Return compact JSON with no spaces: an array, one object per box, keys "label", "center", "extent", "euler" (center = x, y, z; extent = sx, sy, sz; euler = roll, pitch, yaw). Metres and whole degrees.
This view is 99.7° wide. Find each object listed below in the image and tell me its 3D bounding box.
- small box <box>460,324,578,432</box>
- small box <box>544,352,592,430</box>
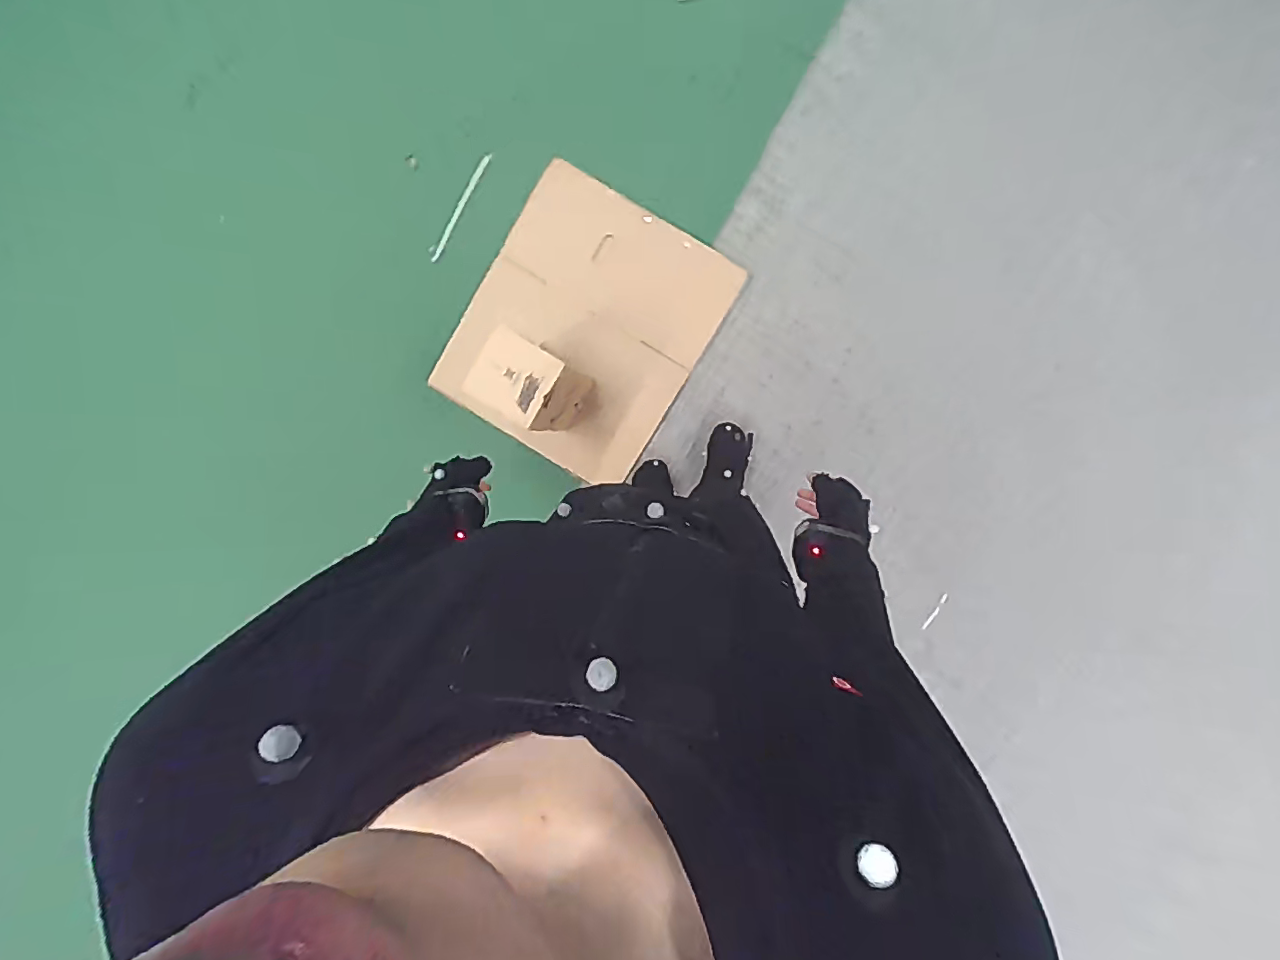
[{"label":"small box","center":[-0.261,-0.223,1.214],"extent":[0.179,0.176,0.168],"euler":[32,97,3]},{"label":"small box","center":[-0.246,-0.237,1.377],"extent":[0.179,0.176,0.168],"euler":[30,97,2]}]
